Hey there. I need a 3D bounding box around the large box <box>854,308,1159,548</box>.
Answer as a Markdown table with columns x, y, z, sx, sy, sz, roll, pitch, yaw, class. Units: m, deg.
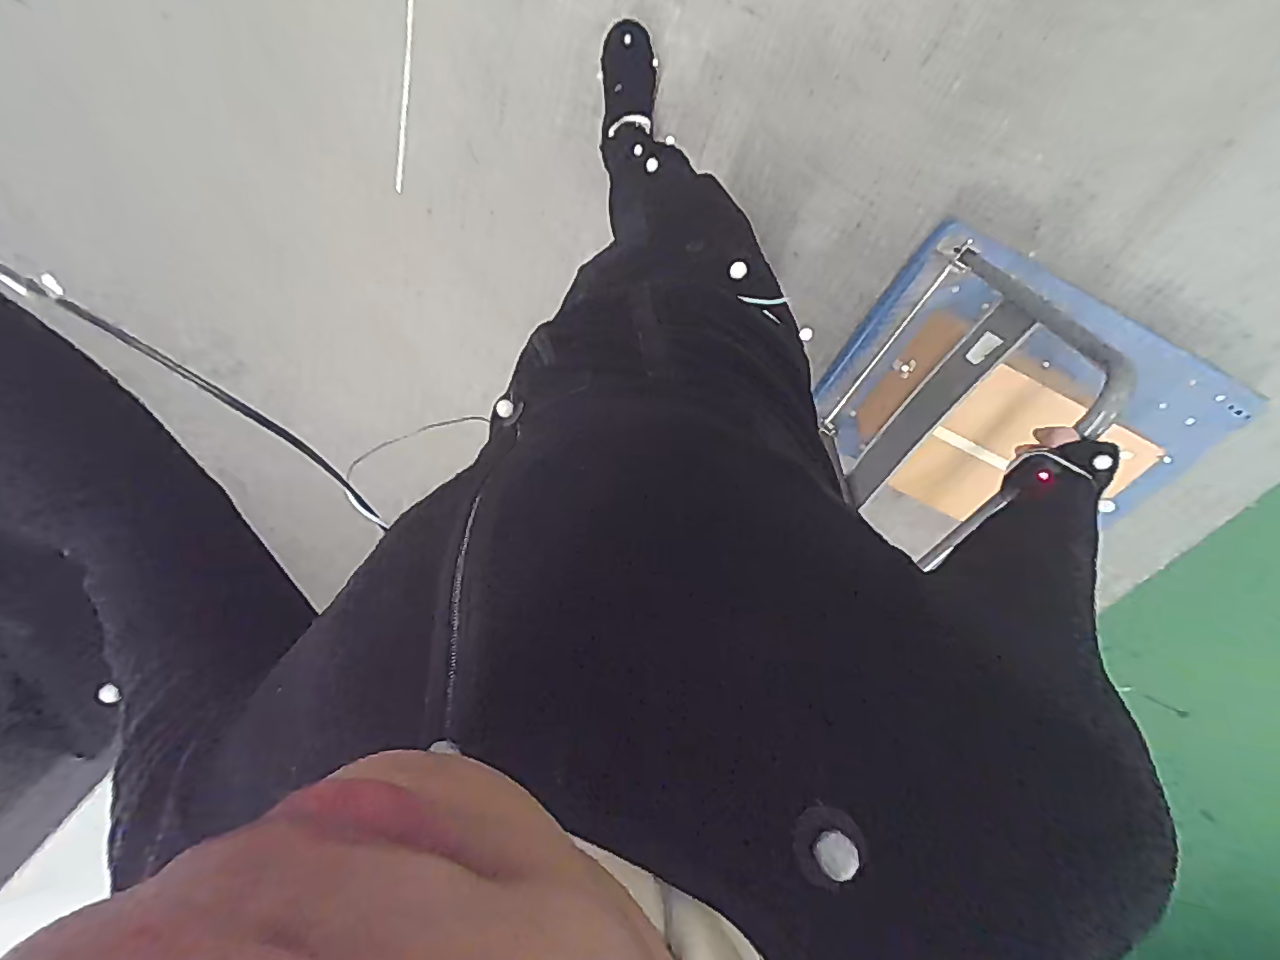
| x | y | z | sx | sy | sz | roll | pitch | yaw | class |
| --- | --- | --- | --- | --- | --- | --- | --- | --- | --- |
| 0.758 | -0.122 | 1.198 | 0.408 | 0.320 | 0.320 | 25 | 126 | -7 | large box |
